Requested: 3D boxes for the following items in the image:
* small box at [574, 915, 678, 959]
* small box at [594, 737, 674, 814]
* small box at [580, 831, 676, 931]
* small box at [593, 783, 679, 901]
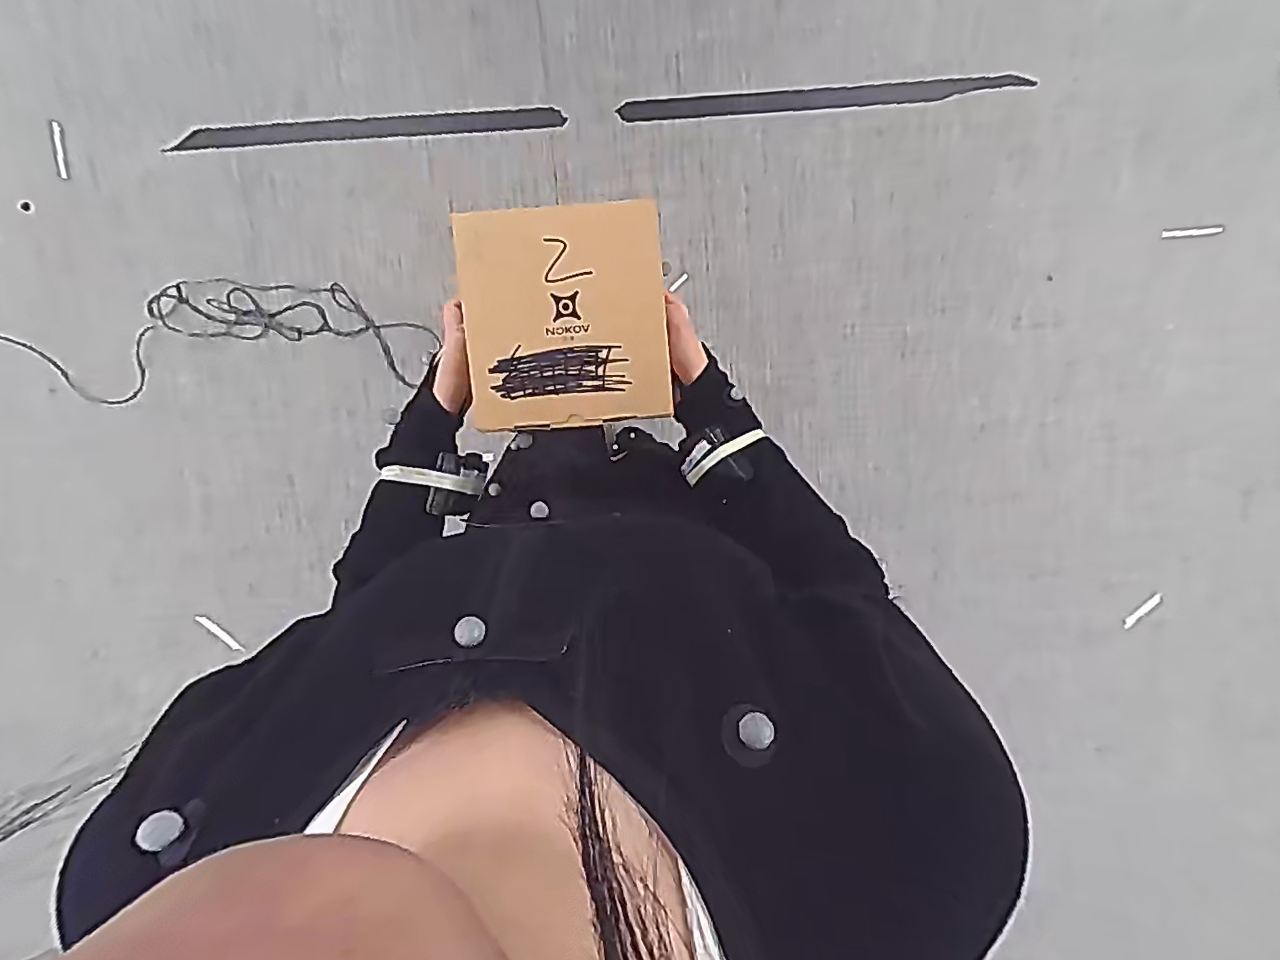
[{"bbox_3d":[-0.023,0.823,0.842,0.168,0.176,0.179,0,95,-1],"label":"small box"},{"bbox_3d":[-0.017,0.758,1.329,0.179,0.176,0.168,6,95,-1],"label":"small box"},{"bbox_3d":[-0.025,0.798,1.005,0.168,0.176,0.179,3,95,-2],"label":"small box"},{"bbox_3d":[-0.015,0.783,1.169,0.179,0.176,0.168,3,95,-1],"label":"small box"}]
